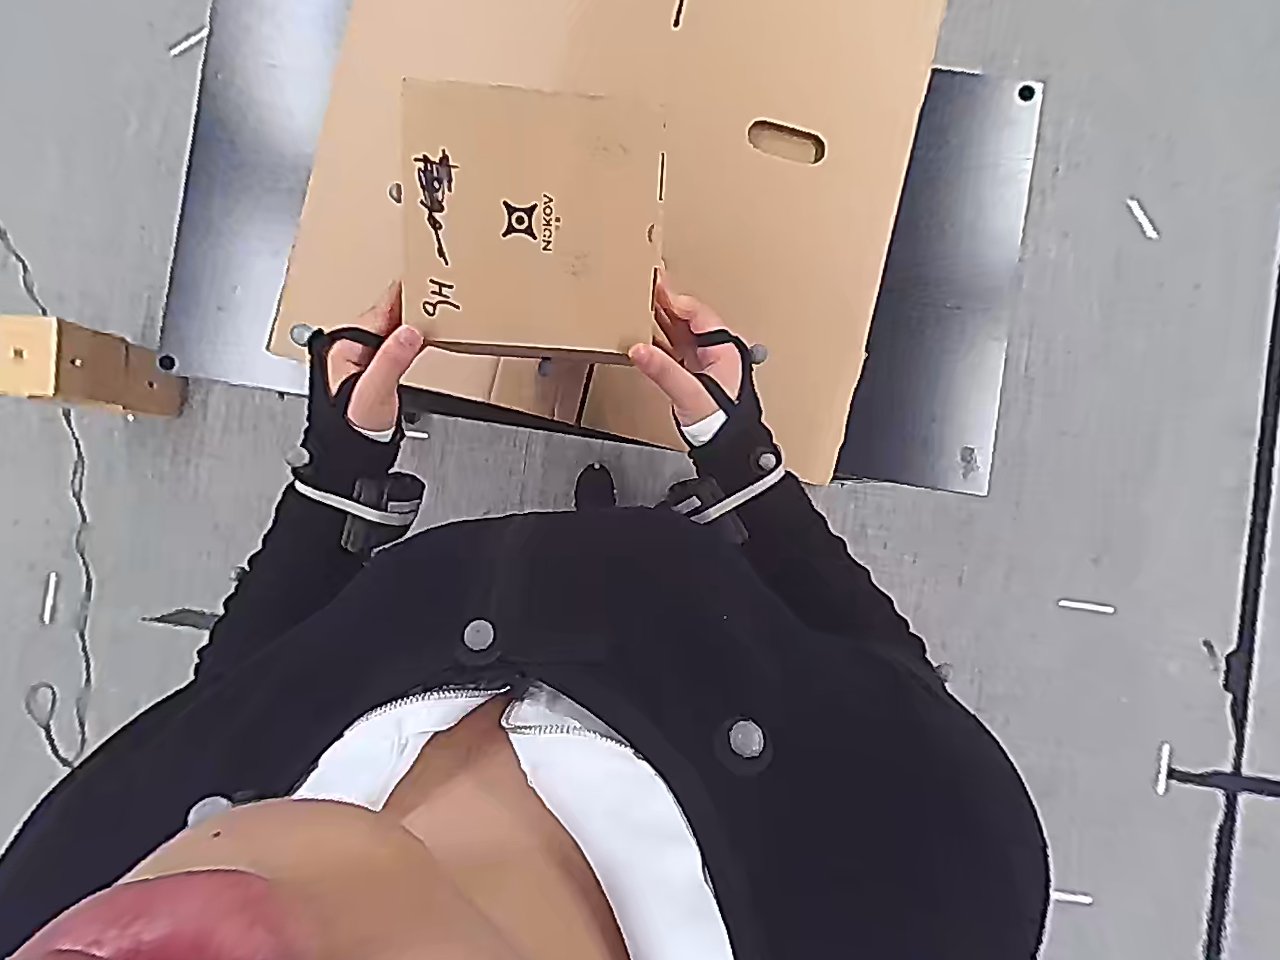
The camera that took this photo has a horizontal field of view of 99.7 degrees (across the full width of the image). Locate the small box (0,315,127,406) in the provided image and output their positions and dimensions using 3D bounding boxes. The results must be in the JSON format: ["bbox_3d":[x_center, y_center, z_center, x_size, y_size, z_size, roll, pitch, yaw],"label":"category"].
[{"bbox_3d":[-1.358,-0.272,1.263,0.168,0.176,0.179,2,88,-1],"label":"small box"}]

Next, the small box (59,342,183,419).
[{"bbox_3d":[-1.359,-0.262,1.426,0.168,0.176,0.179,4,90,0],"label":"small box"}]

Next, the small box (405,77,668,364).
[{"bbox_3d":[-0.081,-0.189,0.451,0.179,0.176,0.168,2,98,-7],"label":"small box"}]
